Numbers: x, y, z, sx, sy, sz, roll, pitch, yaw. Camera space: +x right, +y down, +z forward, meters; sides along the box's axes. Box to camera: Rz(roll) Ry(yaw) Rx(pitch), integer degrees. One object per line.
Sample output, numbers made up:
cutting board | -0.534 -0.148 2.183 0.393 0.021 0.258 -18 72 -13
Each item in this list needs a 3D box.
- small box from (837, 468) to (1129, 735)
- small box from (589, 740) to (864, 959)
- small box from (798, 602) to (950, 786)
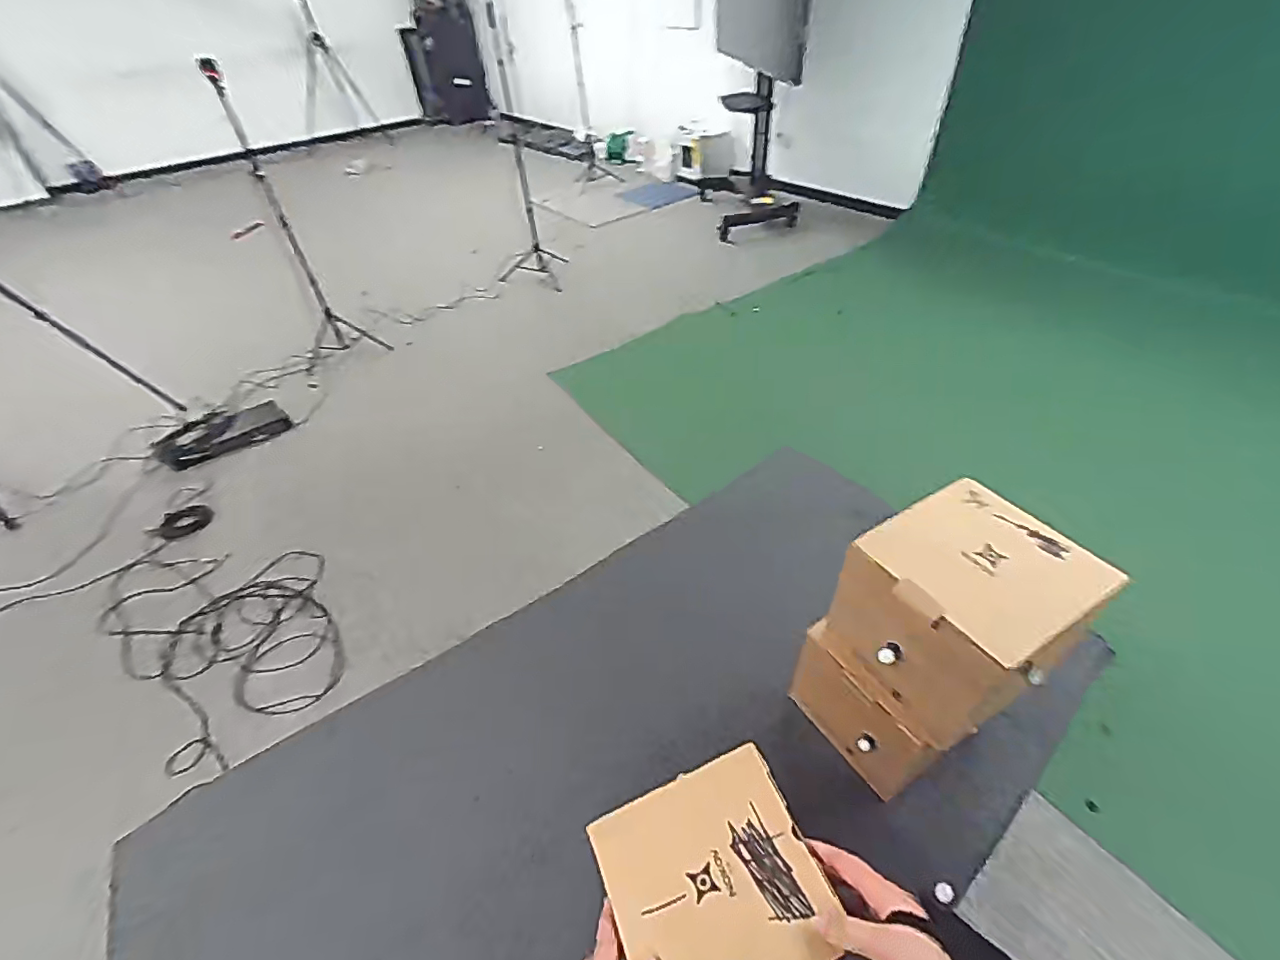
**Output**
small box | 0.325 0.124 0.555 0.179 0.176 0.168 -24 47 -19
small box | 0.070 0.379 0.501 0.179 0.176 0.168 -21 47 -10
small box | 0.316 0.239 0.673 0.179 0.176 0.168 -26 48 -22
